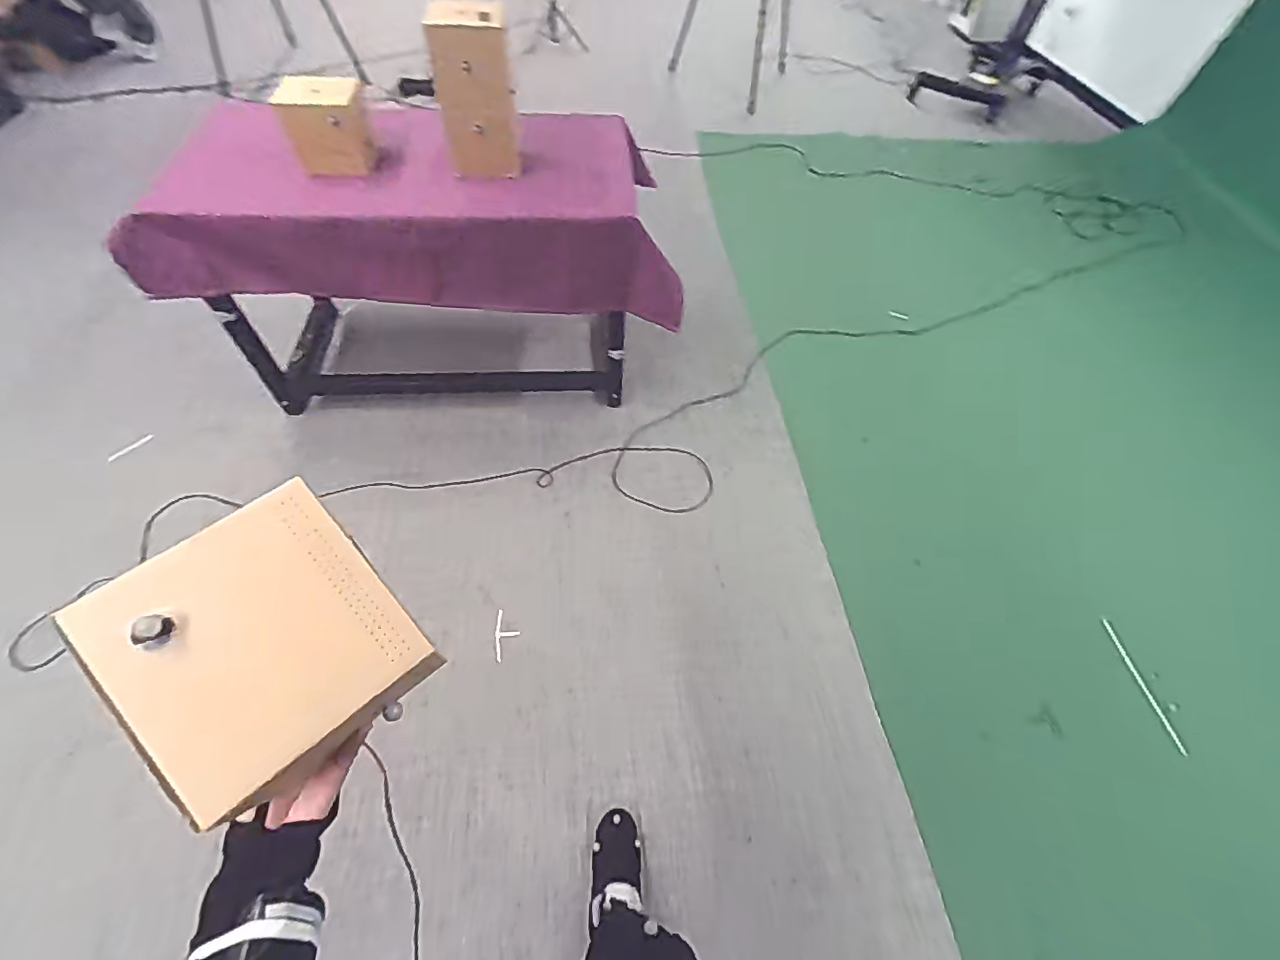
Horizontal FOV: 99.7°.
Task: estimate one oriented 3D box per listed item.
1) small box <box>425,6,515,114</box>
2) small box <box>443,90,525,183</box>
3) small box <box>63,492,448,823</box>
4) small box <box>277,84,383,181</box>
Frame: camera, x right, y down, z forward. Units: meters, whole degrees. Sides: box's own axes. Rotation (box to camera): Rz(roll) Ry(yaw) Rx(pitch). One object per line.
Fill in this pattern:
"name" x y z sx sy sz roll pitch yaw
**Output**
"small box" -0.403 -1.016 1.315 0.179 0.176 0.168 -3 56 -5
"small box" -0.411 -0.920 1.449 0.179 0.176 0.168 -2 56 -6
"small box" -0.285 0.130 0.450 0.176 0.168 0.179 -39 84 -24
"small box" -0.801 -0.907 1.416 0.179 0.176 0.168 -3 55 -7
